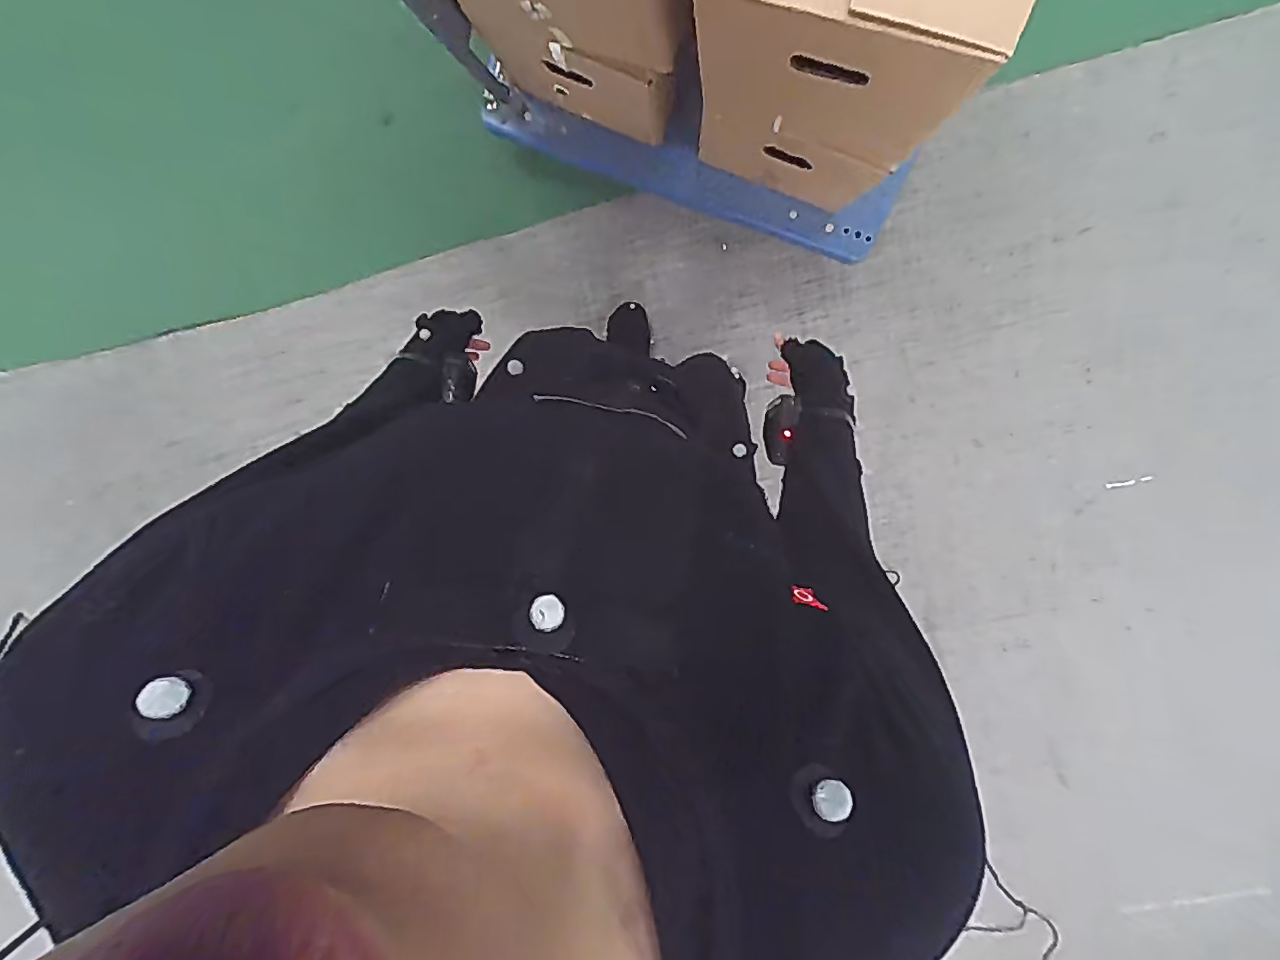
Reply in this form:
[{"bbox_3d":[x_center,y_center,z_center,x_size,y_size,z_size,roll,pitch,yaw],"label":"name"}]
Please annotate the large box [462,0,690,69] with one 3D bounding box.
[{"bbox_3d":[-0.067,-0.772,0.587,0.320,0.320,0.408,18,106,3],"label":"large box"}]
